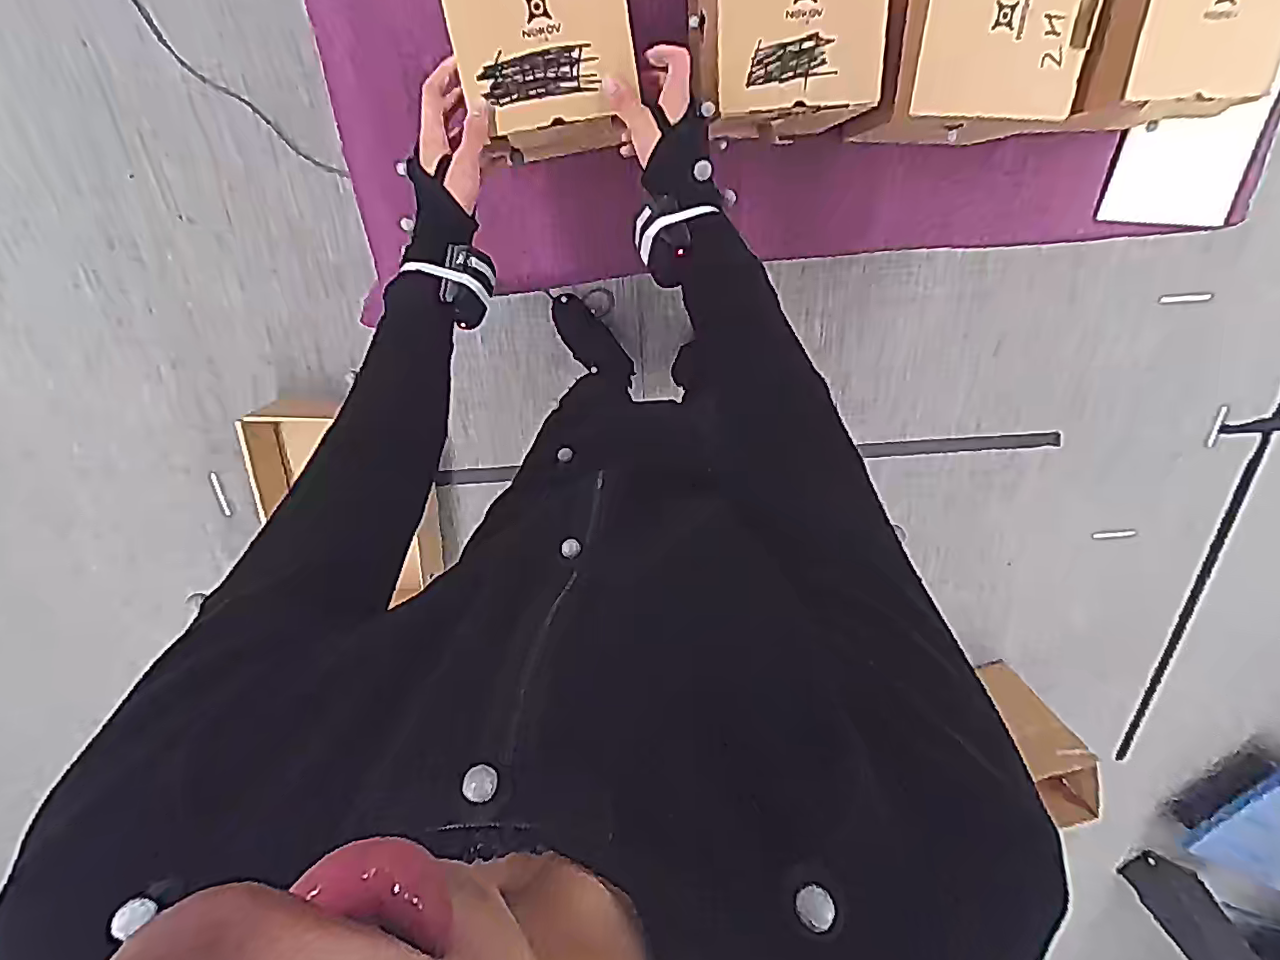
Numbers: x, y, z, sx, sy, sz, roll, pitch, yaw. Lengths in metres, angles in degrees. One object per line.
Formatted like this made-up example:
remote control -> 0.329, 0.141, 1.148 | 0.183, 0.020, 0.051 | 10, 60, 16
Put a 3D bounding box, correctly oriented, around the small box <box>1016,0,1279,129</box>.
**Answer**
small box -> 0.564, -0.503, 0.600 | 0.168, 0.176, 0.179 | -4, 113, -4
